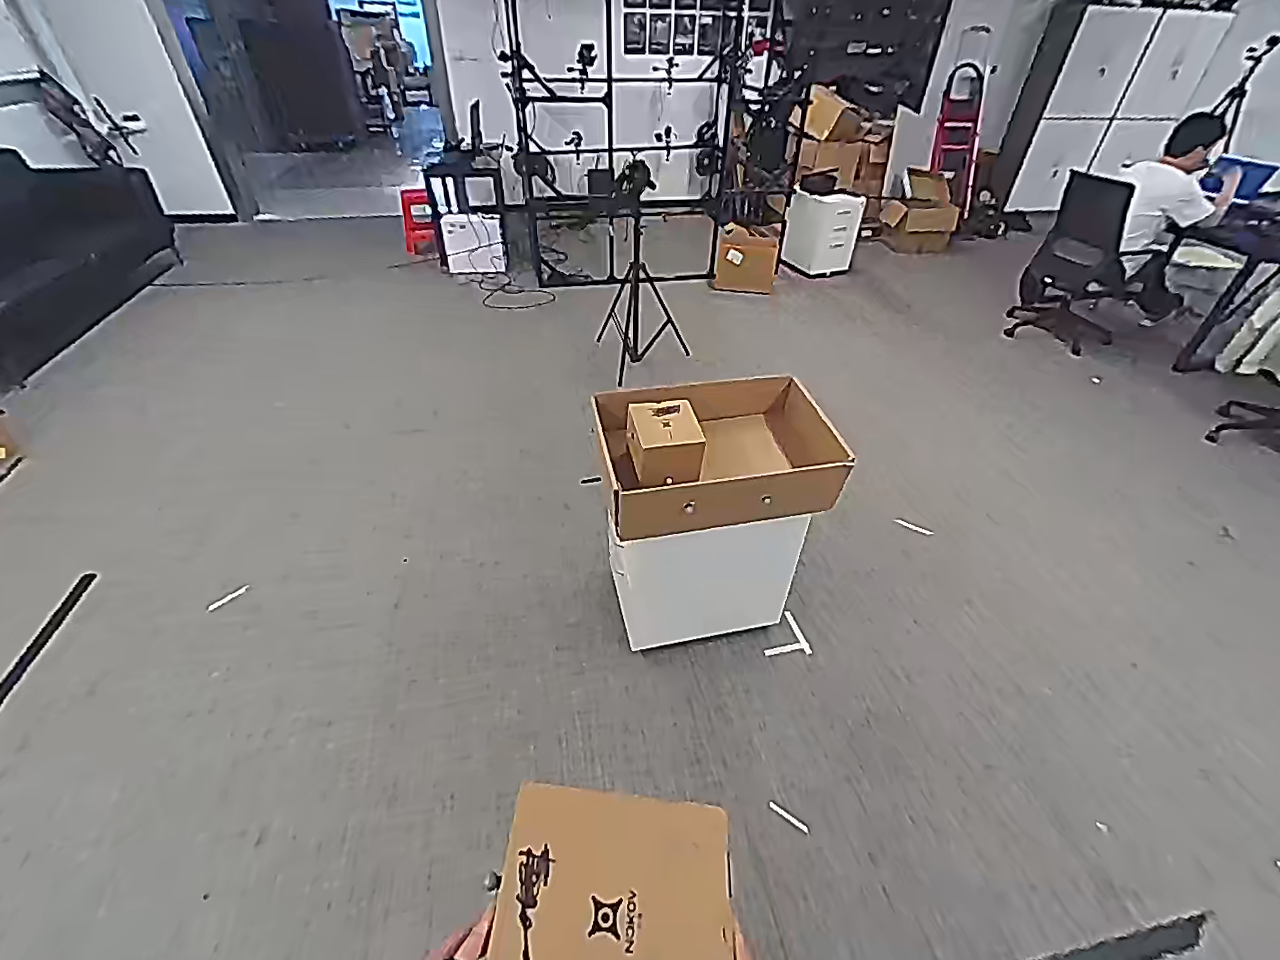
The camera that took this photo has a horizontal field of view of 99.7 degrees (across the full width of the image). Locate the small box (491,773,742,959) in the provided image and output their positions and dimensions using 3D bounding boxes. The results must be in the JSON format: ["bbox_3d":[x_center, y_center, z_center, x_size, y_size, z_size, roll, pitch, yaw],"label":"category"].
[{"bbox_3d":[-0.026,0.366,0.443,0.179,0.176,0.168,11,43,-5],"label":"small box"}]

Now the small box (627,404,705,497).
[{"bbox_3d":[0.060,-0.079,1.436,0.168,0.176,0.179,-7,46,-11],"label":"small box"}]
